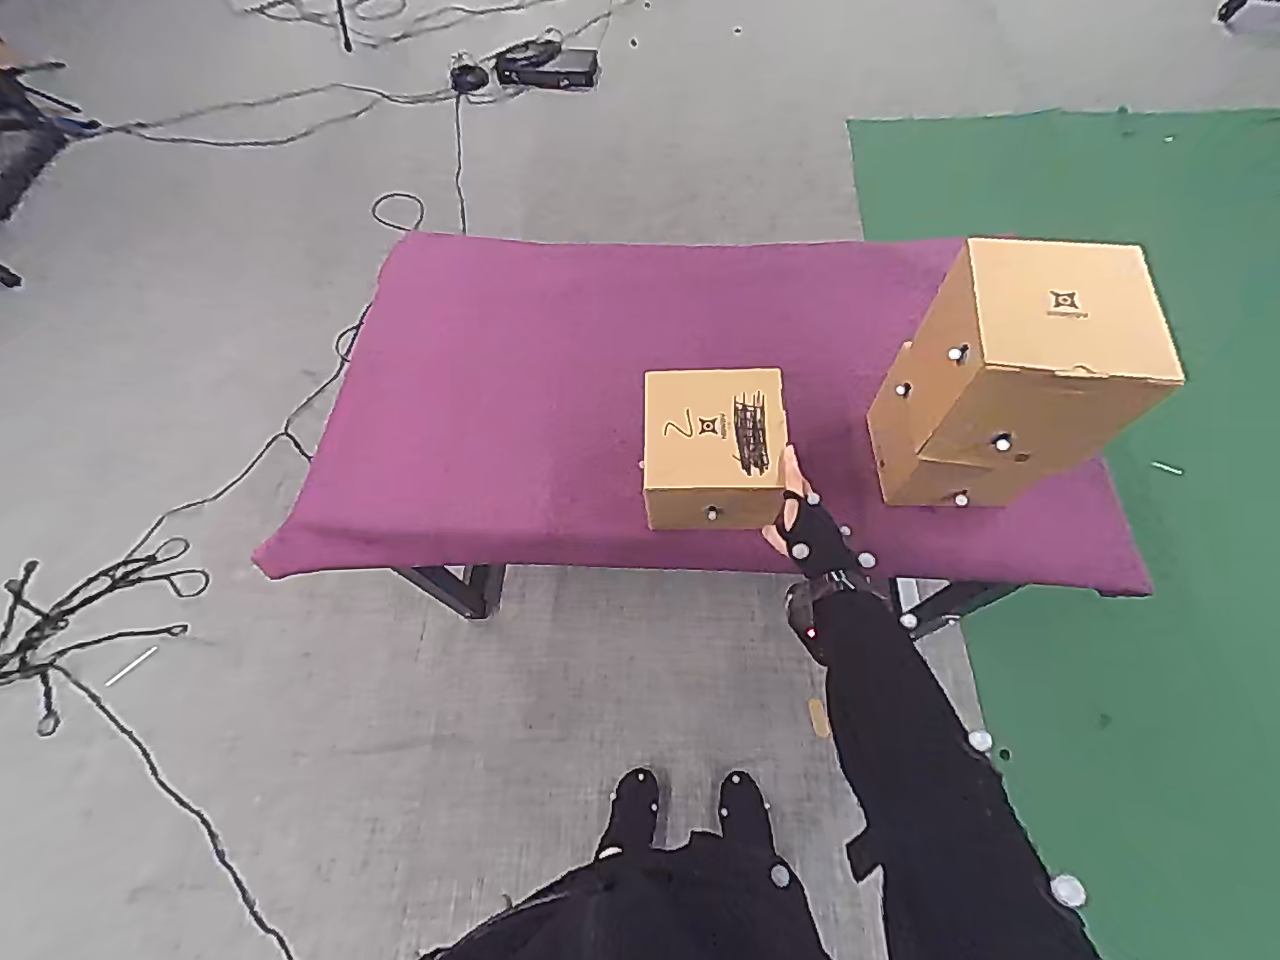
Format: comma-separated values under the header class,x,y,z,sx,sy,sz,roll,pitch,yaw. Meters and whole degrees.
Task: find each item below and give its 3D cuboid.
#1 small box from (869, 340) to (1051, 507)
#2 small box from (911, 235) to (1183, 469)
class,x,y,z,sx,sy,sz,roll,pitch,yaw
small box,0.438,-0.072,0.737,0.179,0.176,0.168,0,60,5
small box,0.410,-0.134,0.587,0.168,0.176,0.179,6,63,9
